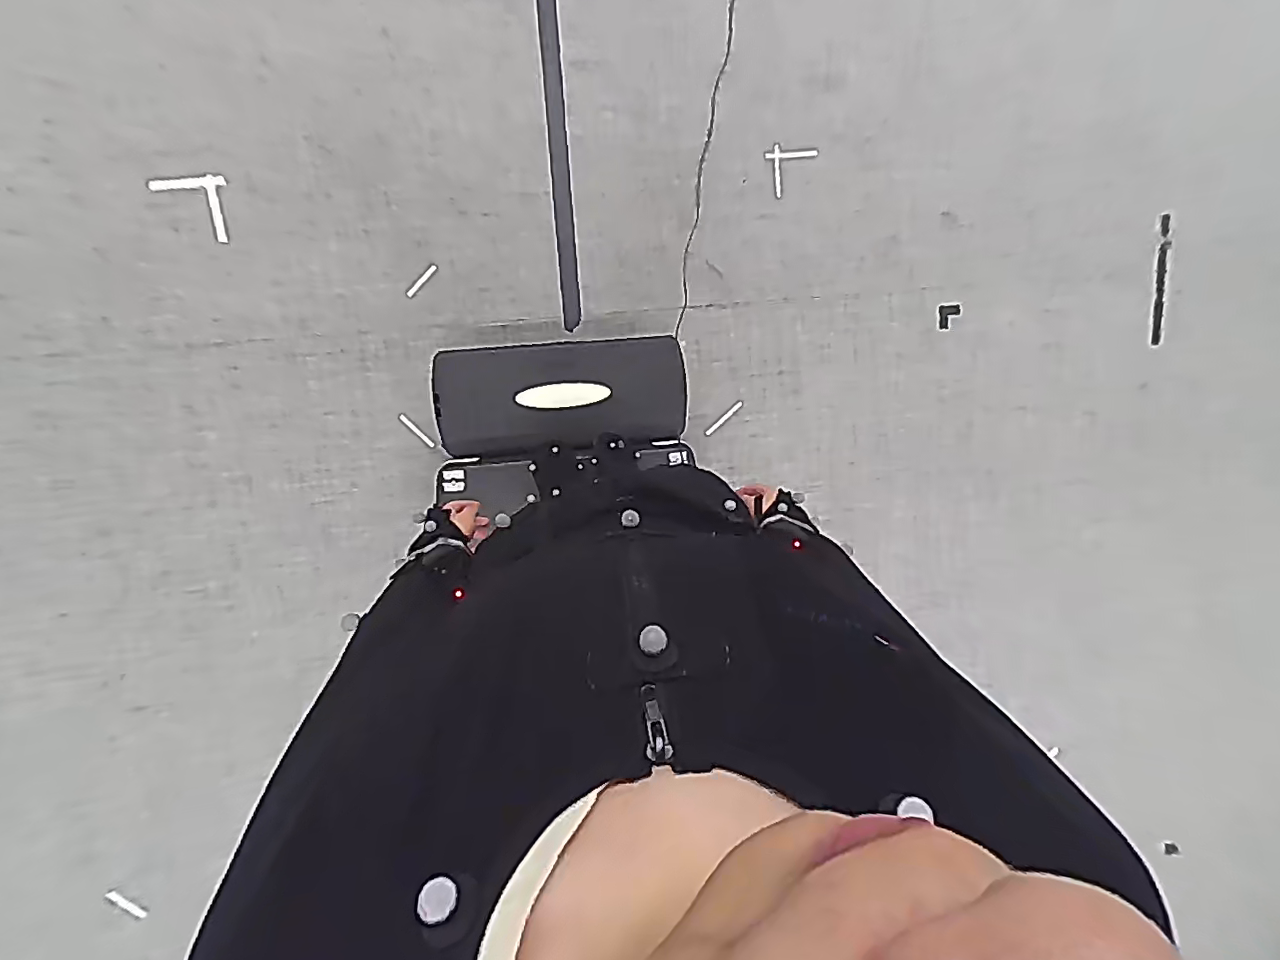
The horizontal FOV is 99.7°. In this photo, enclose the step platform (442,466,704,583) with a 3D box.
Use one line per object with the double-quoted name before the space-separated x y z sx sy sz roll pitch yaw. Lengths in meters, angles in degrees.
"step platform" -0.170 0.113 1.458 0.684 0.204 0.286 -1 95 -6
